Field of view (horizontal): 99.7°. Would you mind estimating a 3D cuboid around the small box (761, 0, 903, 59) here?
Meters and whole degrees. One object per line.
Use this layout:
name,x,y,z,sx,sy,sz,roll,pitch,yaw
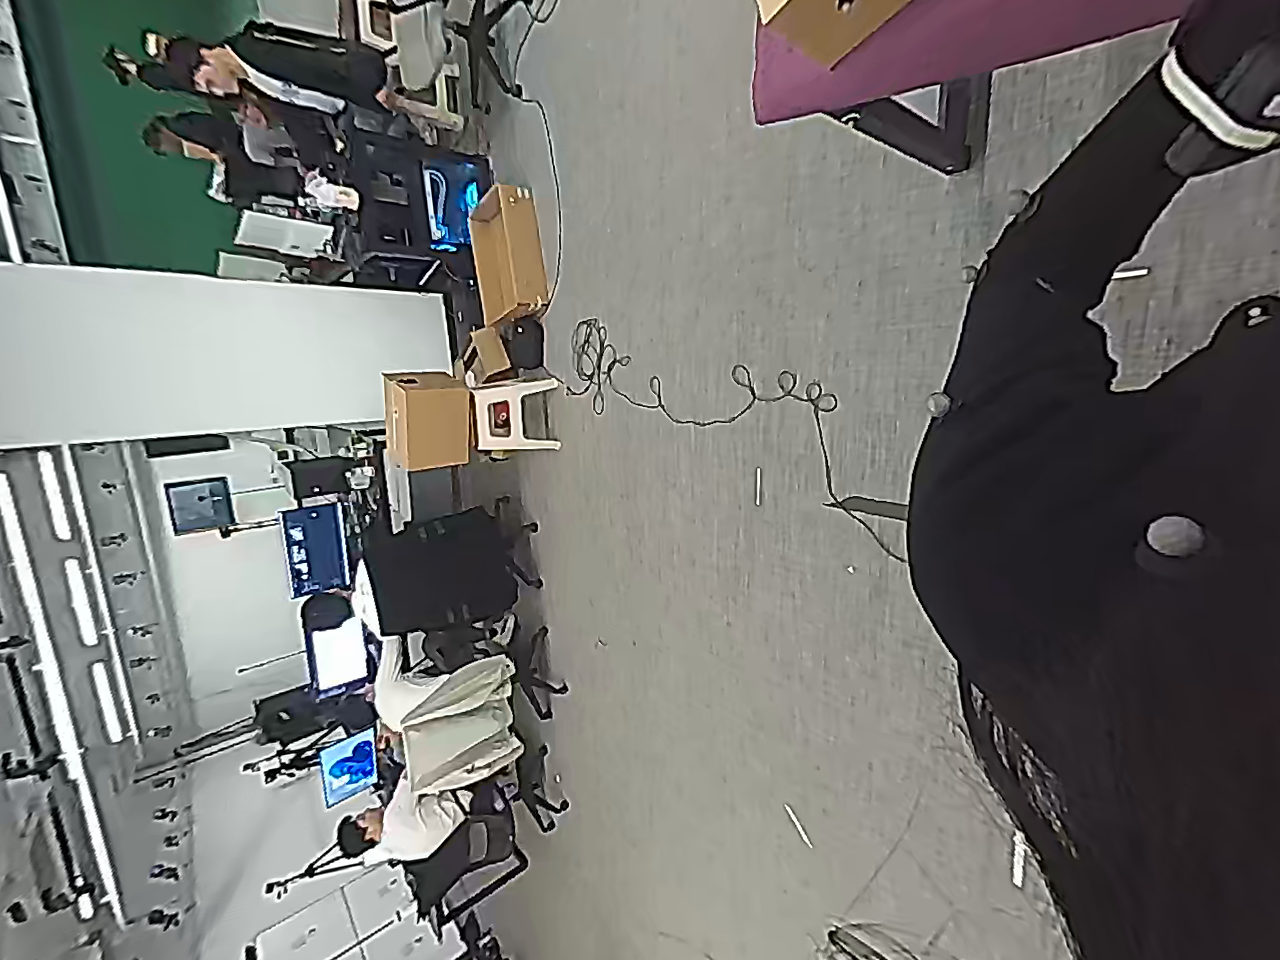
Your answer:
small box,0.258,-0.701,0.690,0.179,0.176,0.168,-17,86,50
